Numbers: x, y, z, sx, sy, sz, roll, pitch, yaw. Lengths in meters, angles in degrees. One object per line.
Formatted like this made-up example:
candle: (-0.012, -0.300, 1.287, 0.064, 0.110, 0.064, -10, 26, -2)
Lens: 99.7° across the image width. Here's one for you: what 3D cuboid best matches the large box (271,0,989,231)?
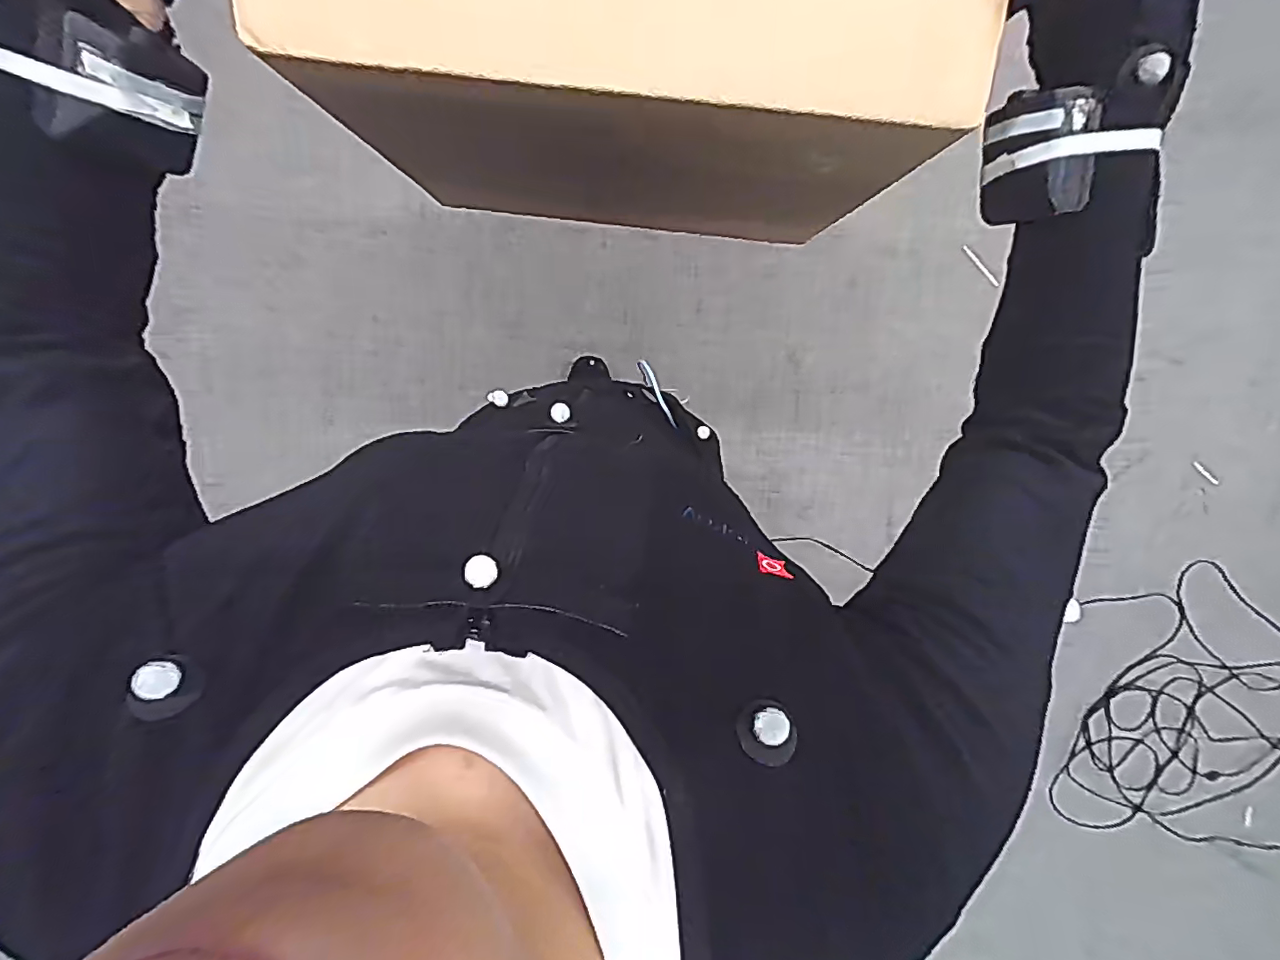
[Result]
large box: (0.001, -0.405, 0.420, 0.408, 0.320, 0.320, 5, 103, -2)
